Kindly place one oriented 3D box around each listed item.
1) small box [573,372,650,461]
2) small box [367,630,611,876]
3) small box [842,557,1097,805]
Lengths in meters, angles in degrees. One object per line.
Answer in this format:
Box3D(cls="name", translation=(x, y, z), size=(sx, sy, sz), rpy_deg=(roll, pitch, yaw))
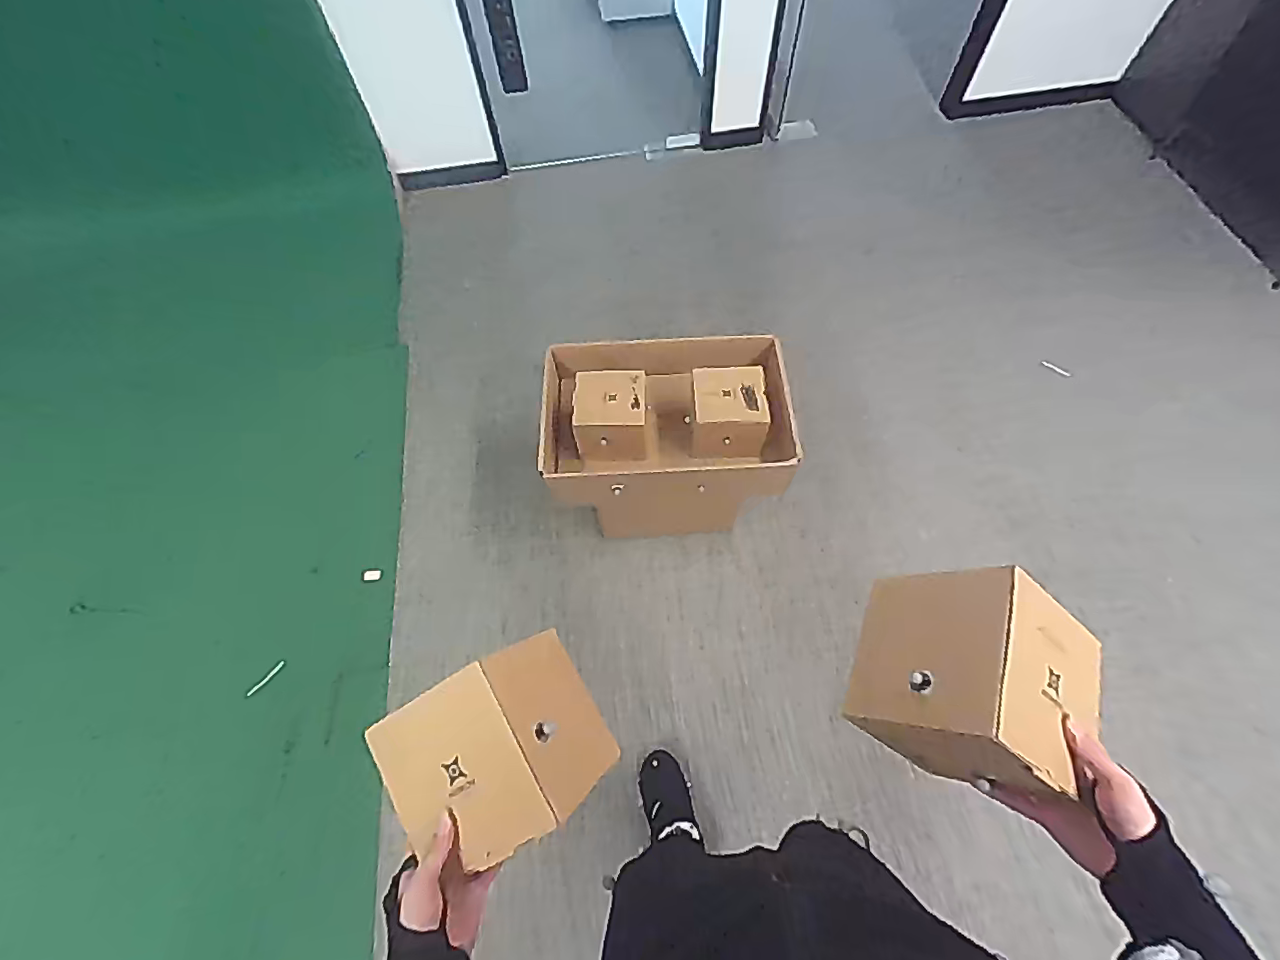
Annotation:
Box3D(cls="small box", translation=(-0.067, -0.159, 1.385), size=(0.179, 0.176, 0.168), rpy_deg=(-1, 62, 3))
Box3D(cls="small box", translation=(-0.162, 0.289, 0.620), size=(0.168, 0.176, 0.179), rpy_deg=(-34, 77, 13))
Box3D(cls="small box", translation=(0.348, 0.207, 0.585), size=(0.168, 0.176, 0.179), rpy_deg=(37, 61, -17))
